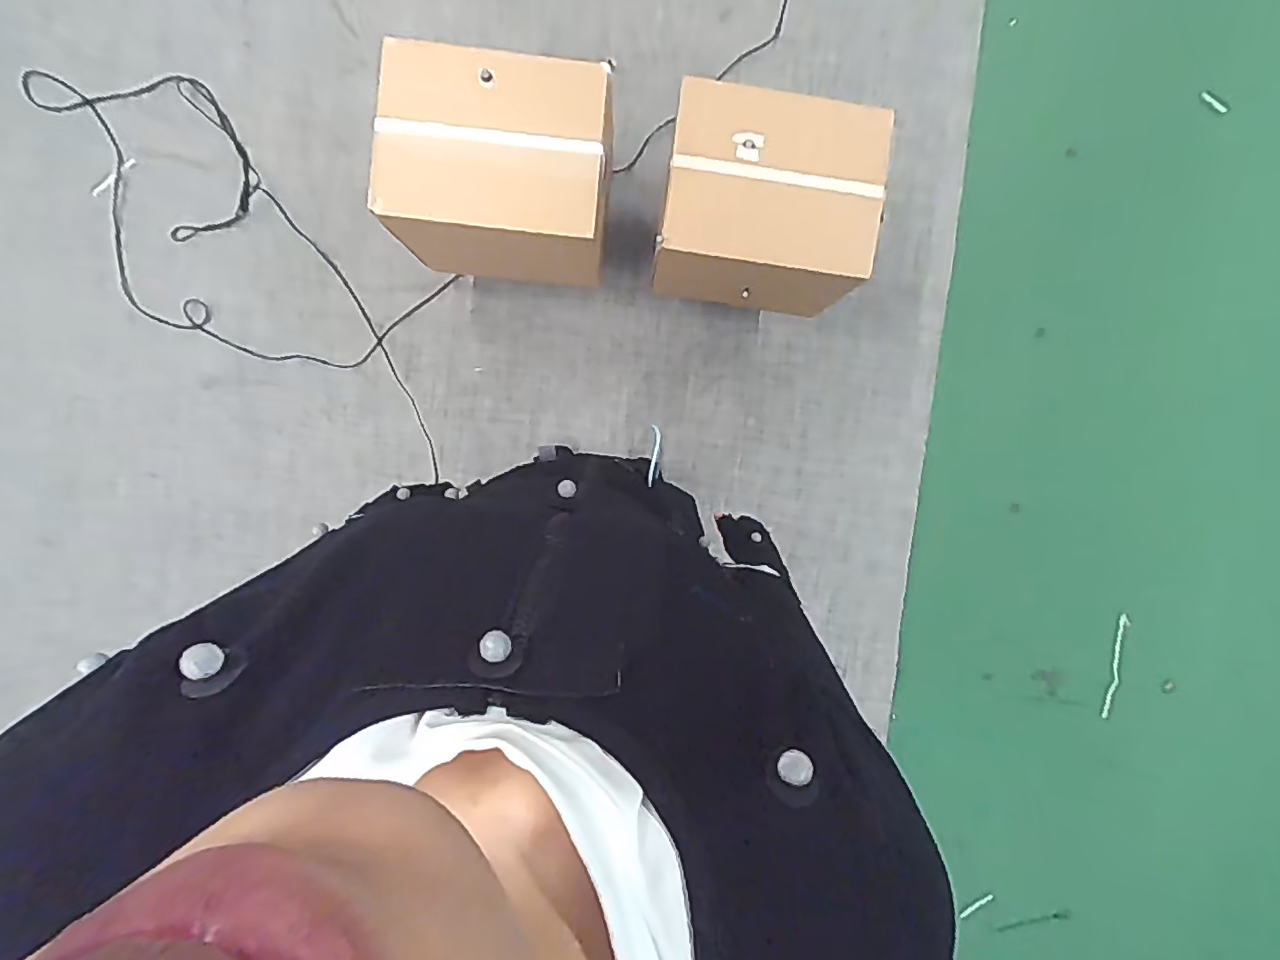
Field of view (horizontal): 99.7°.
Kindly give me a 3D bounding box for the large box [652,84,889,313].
[{"bbox_3d":[0.252,-0.571,1.168,0.408,0.320,0.320,8,93,-3],"label":"large box"}]
